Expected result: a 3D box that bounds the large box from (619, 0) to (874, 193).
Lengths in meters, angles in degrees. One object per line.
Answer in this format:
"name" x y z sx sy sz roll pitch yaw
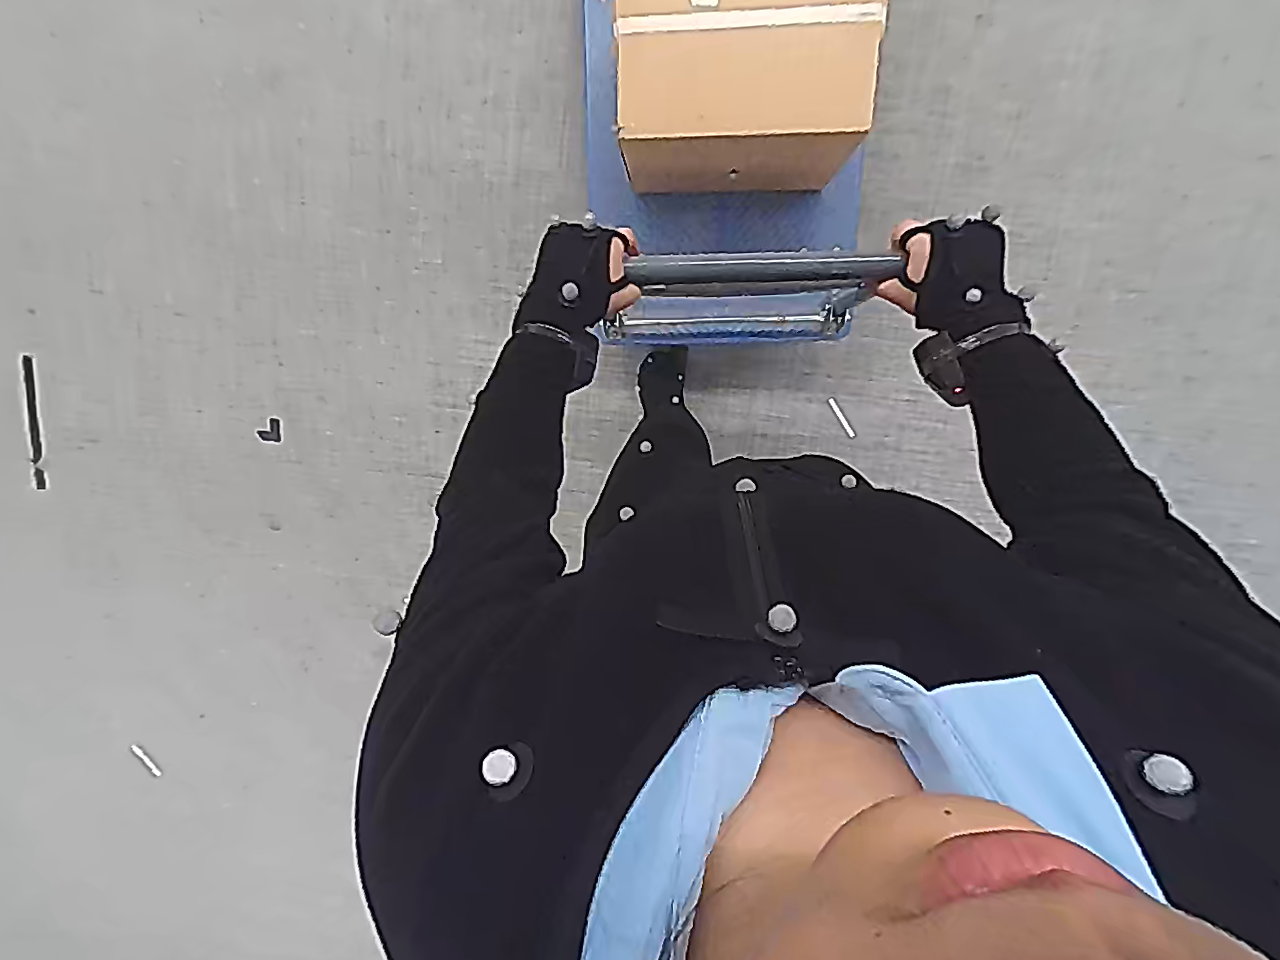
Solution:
"large box" 0.180 -0.746 1.000 0.408 0.320 0.320 1 102 5
